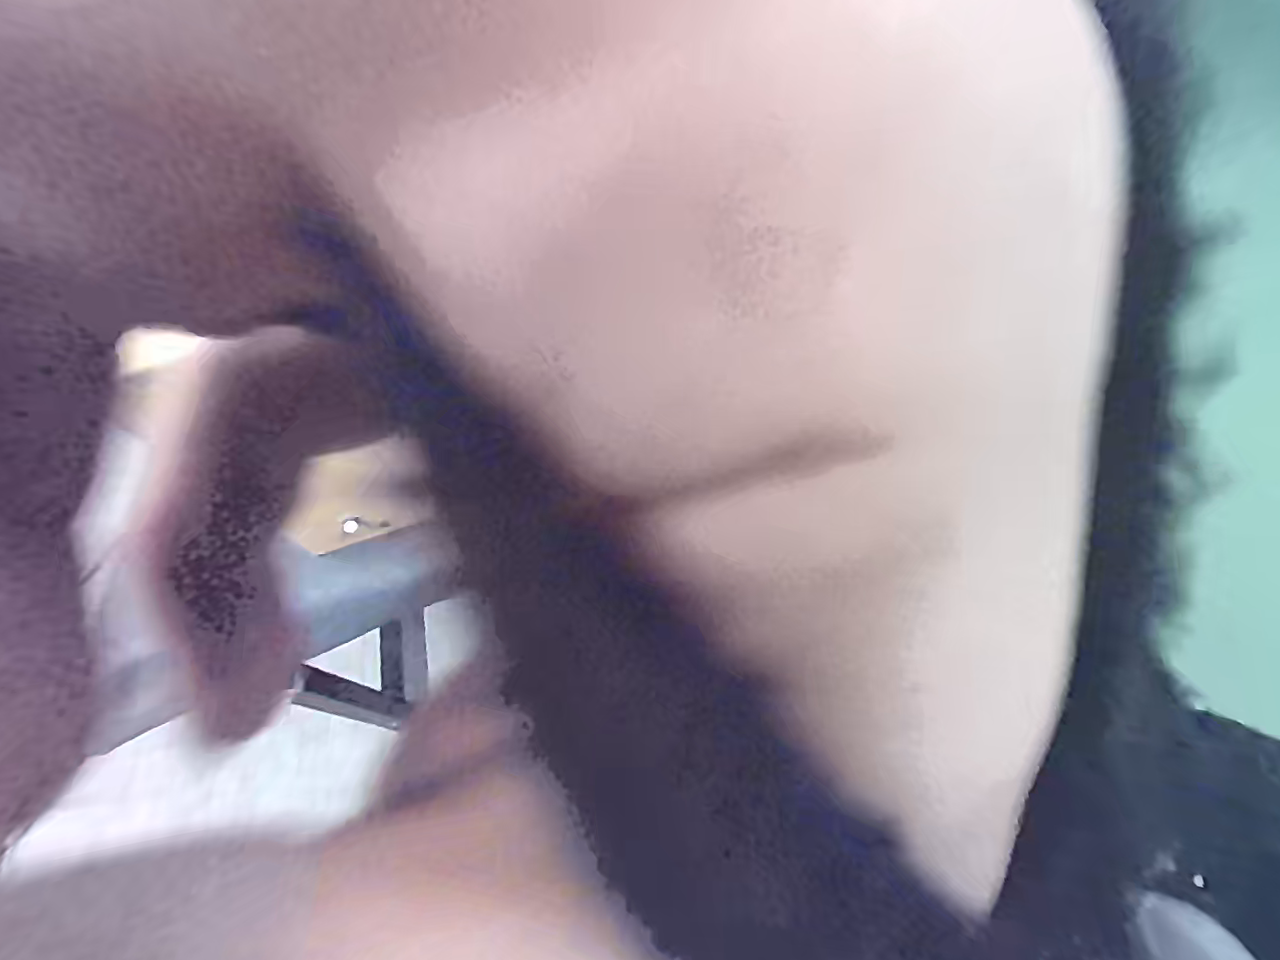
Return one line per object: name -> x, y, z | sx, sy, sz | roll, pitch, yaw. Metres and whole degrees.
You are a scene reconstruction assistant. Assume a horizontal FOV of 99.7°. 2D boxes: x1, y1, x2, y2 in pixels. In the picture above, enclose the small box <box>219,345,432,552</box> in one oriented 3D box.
small box -> -0.386, -0.035, 0.692 | 0.168, 0.176, 0.179 | -19, 58, -4
